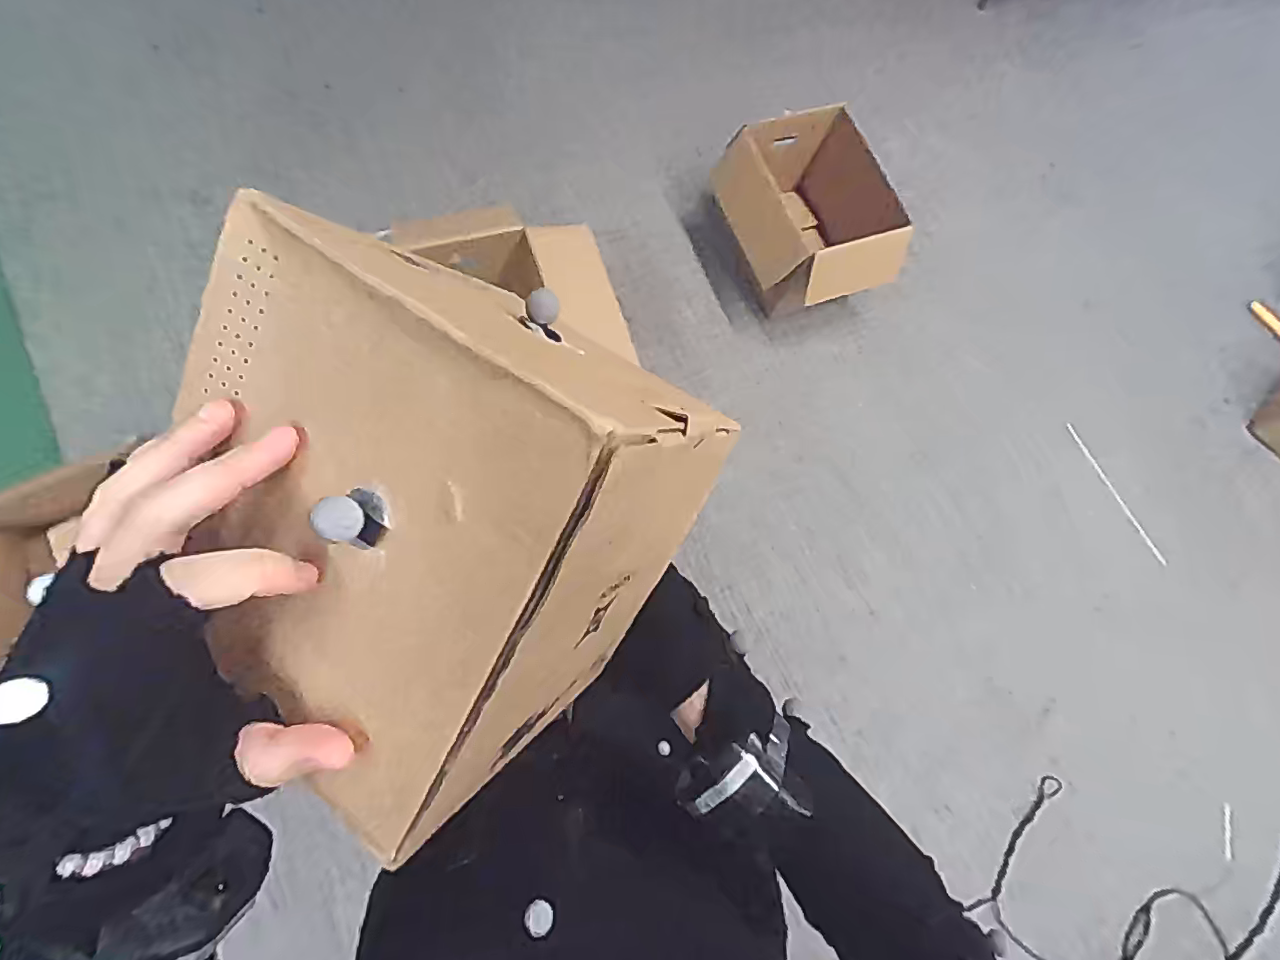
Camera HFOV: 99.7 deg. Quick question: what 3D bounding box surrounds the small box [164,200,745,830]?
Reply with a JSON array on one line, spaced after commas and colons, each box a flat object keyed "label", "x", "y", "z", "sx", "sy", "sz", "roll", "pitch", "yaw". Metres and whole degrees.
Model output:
[{"label": "small box", "x": -0.076, "y": 0.002, "z": 0.261, "sx": 0.176, "sy": 0.168, "sz": 0.179, "roll": 34, "pitch": 105, "yaw": 16}]
